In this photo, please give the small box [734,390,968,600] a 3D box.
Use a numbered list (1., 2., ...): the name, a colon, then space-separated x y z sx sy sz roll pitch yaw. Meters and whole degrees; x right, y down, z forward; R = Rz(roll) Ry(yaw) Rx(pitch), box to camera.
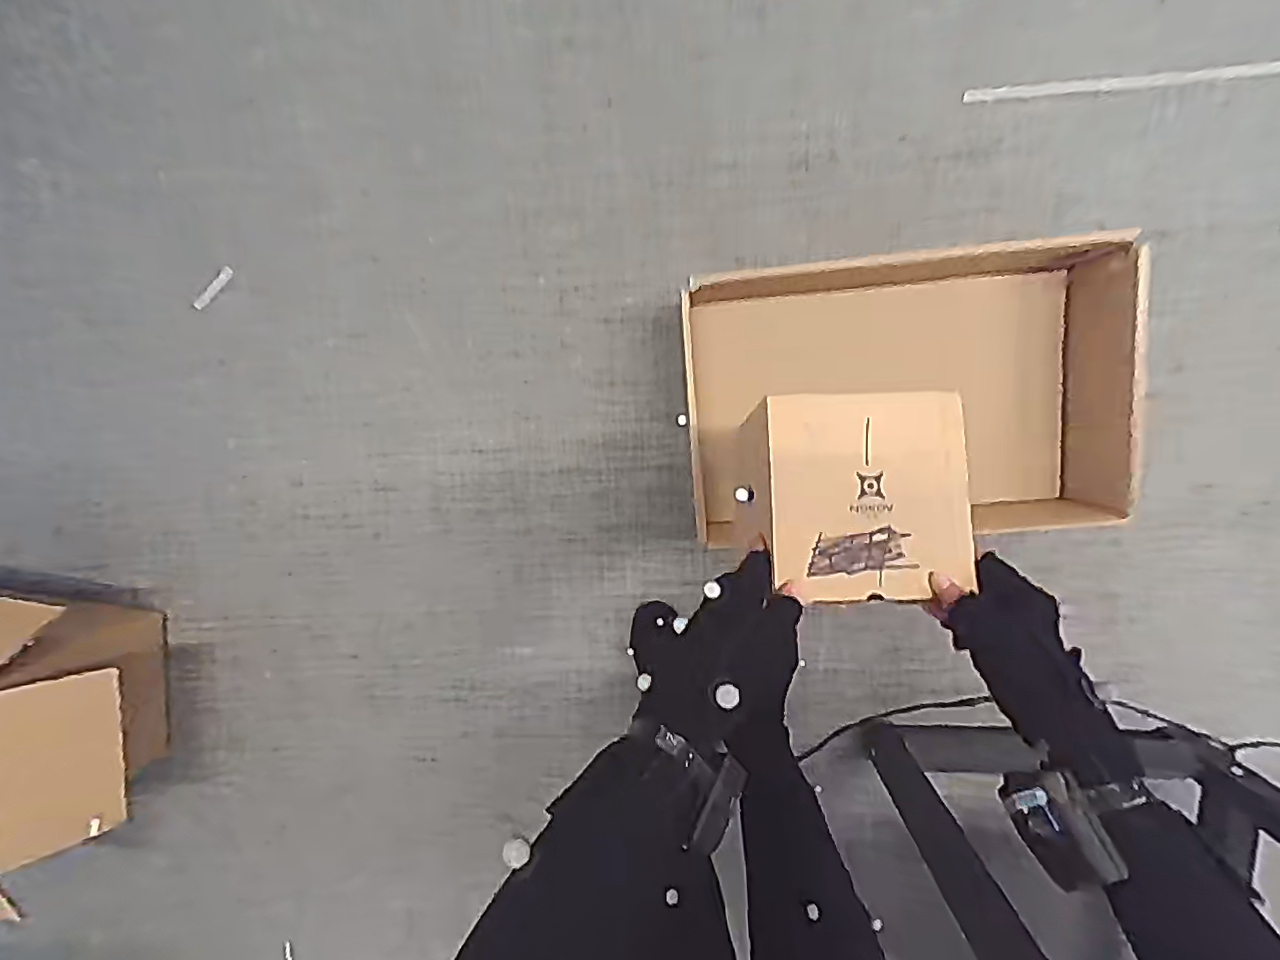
1. small box: 0.188 0.018 0.530 0.168 0.176 0.179 -1 84 1
